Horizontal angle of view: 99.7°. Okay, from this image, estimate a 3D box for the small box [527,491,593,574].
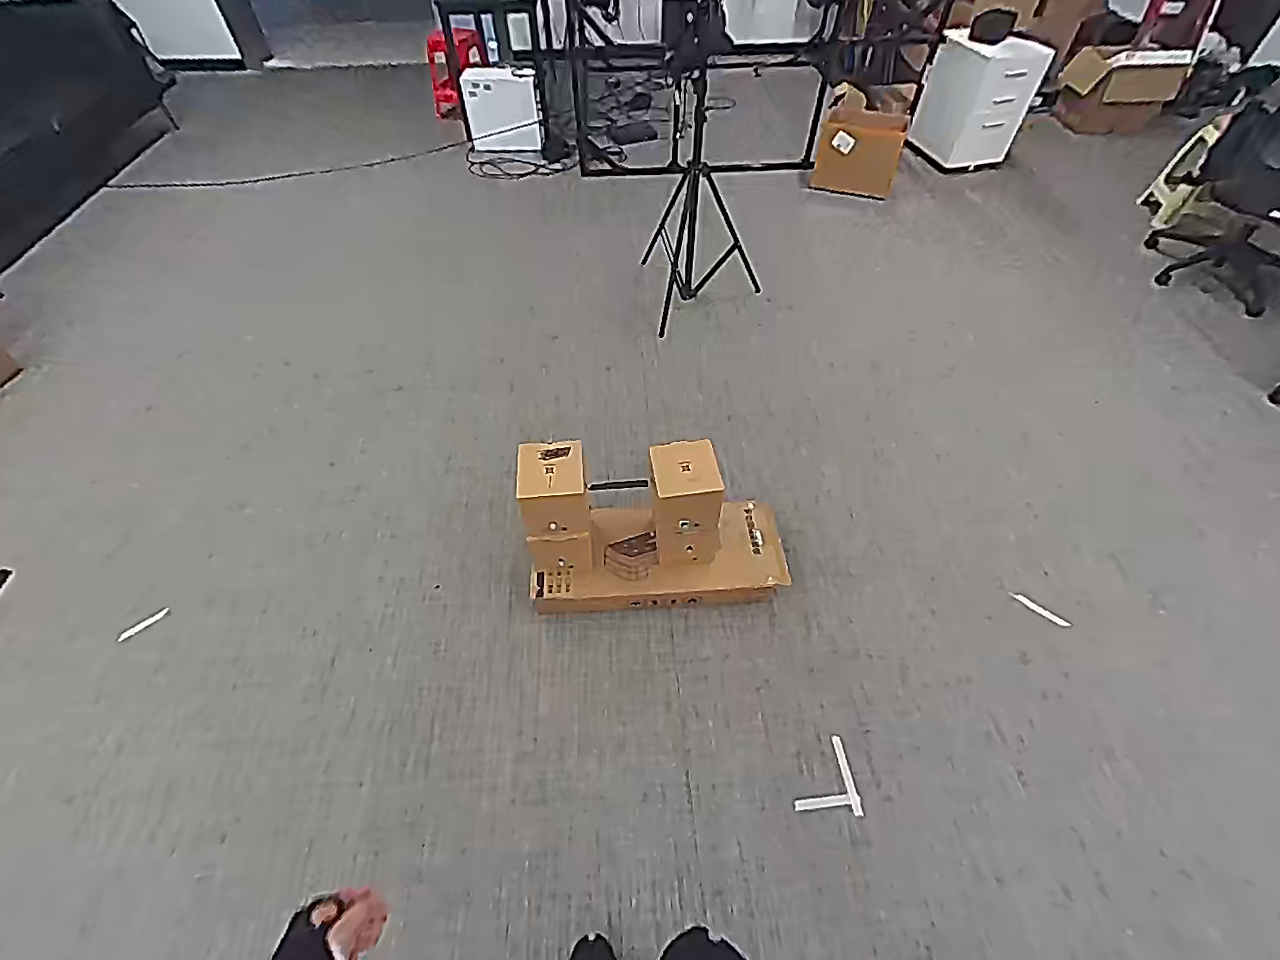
[{"bbox_3d":[-0.222,0.149,1.536,0.168,0.176,0.179,-3,51,-3],"label":"small box"}]

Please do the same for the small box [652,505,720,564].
[{"bbox_3d":[0.126,0.130,1.554,0.168,0.176,0.179,-4,52,-5],"label":"small box"}]

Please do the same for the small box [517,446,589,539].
[{"bbox_3d":[-0.224,0.034,1.418,0.168,0.176,0.179,-5,51,-4],"label":"small box"}]

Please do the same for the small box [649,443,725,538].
[{"bbox_3d":[0.117,0.029,1.428,0.168,0.176,0.179,-8,52,-5],"label":"small box"}]
